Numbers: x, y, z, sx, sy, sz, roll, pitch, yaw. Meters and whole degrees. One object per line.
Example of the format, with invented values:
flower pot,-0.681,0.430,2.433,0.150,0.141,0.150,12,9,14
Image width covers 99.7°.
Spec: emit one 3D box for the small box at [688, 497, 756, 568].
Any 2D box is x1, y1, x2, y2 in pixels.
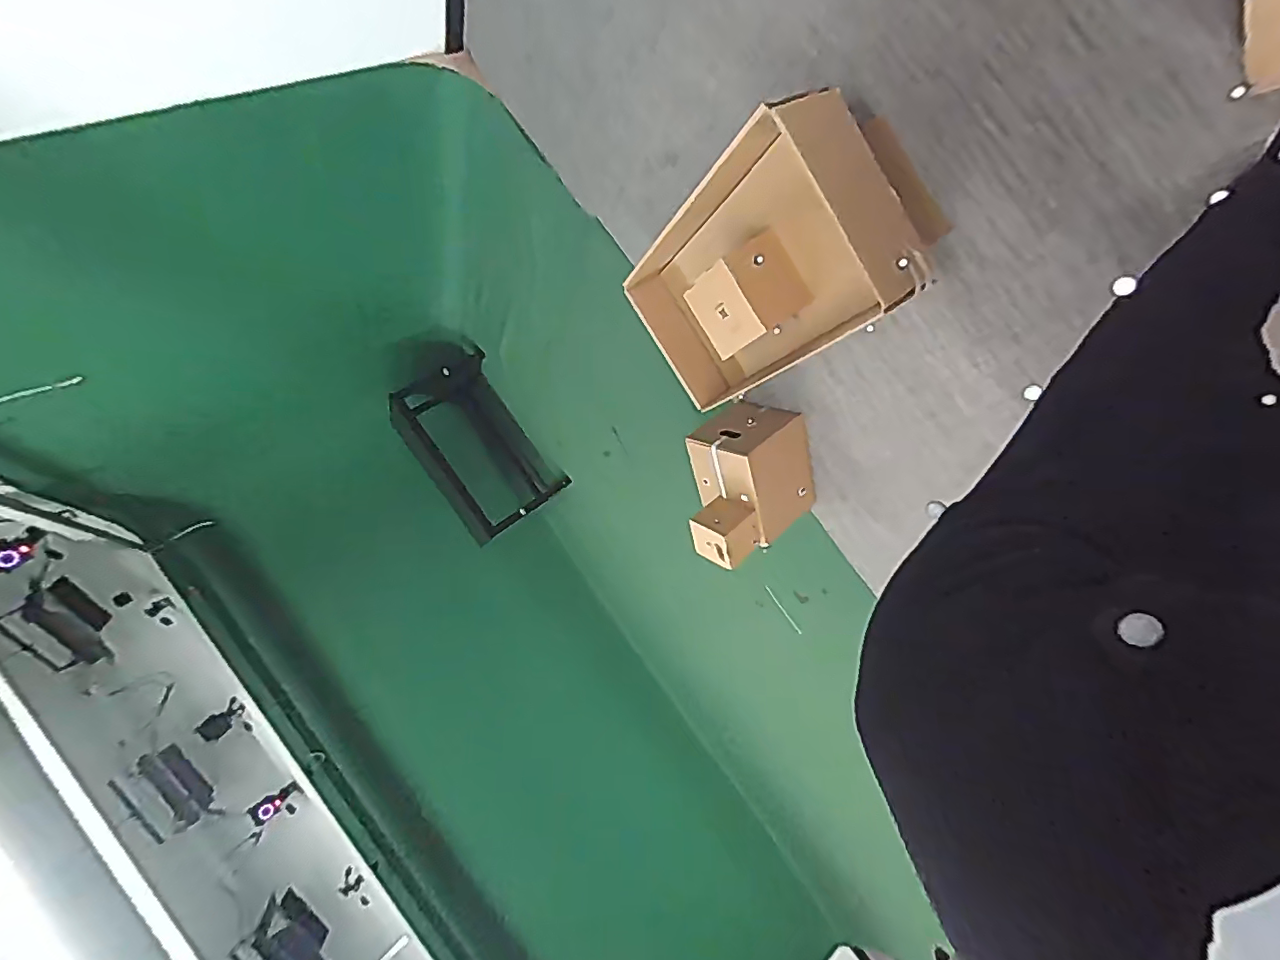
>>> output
small box,0.307,0.185,1.968,0.179,0.176,0.168,25,140,45
